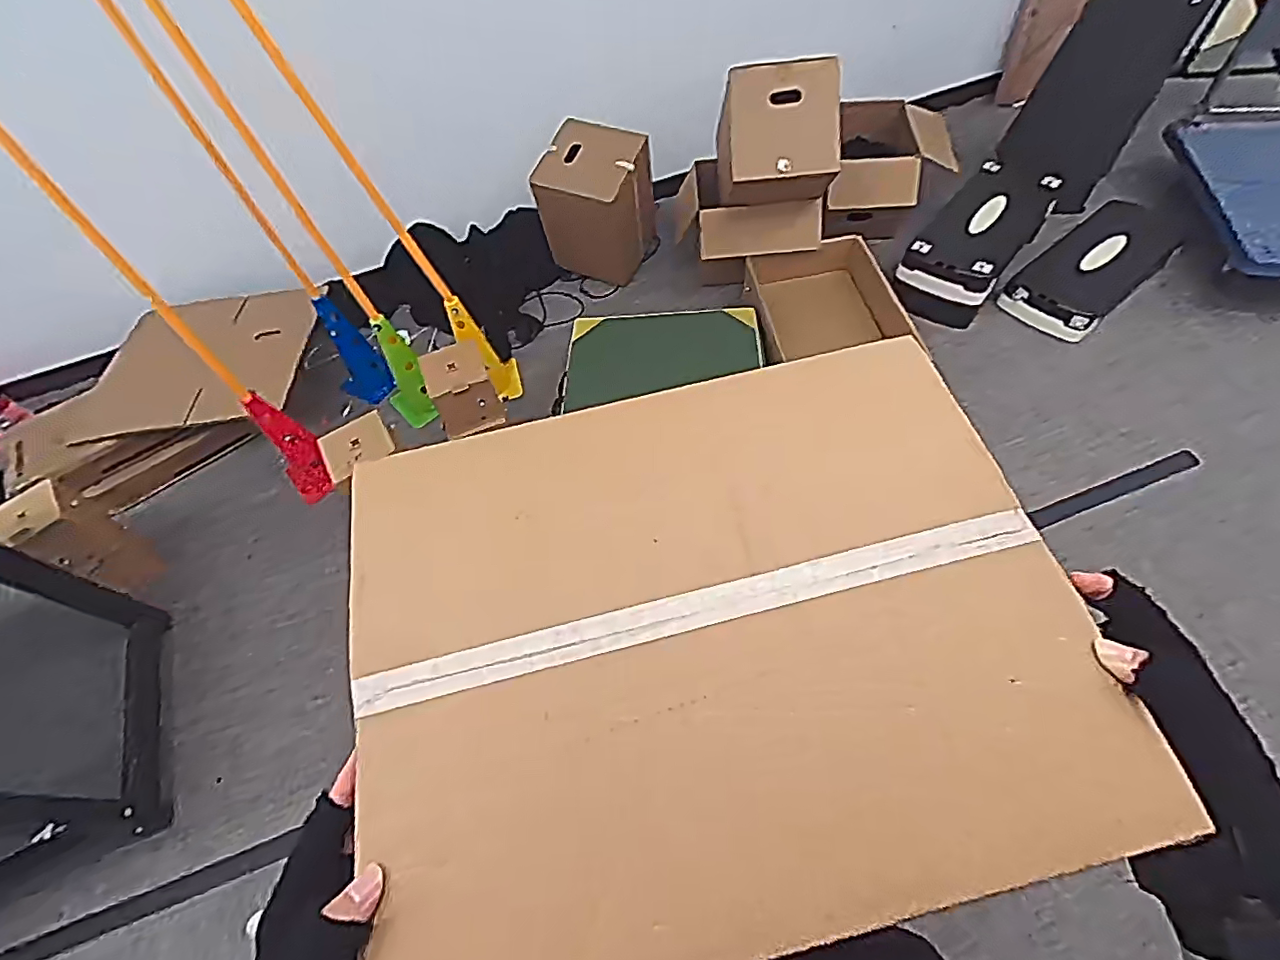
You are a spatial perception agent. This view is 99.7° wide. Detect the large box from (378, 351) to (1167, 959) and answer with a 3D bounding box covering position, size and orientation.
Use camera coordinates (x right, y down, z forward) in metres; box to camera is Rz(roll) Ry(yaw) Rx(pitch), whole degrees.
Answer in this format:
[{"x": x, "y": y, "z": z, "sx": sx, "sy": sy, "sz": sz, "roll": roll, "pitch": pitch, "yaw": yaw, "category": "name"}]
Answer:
[{"x": 0.049, "y": 0.149, "z": 0.460, "sx": 0.408, "sy": 0.320, "sz": 0.320, "roll": -14, "pitch": 64, "yaw": -3, "category": "large box"}]
